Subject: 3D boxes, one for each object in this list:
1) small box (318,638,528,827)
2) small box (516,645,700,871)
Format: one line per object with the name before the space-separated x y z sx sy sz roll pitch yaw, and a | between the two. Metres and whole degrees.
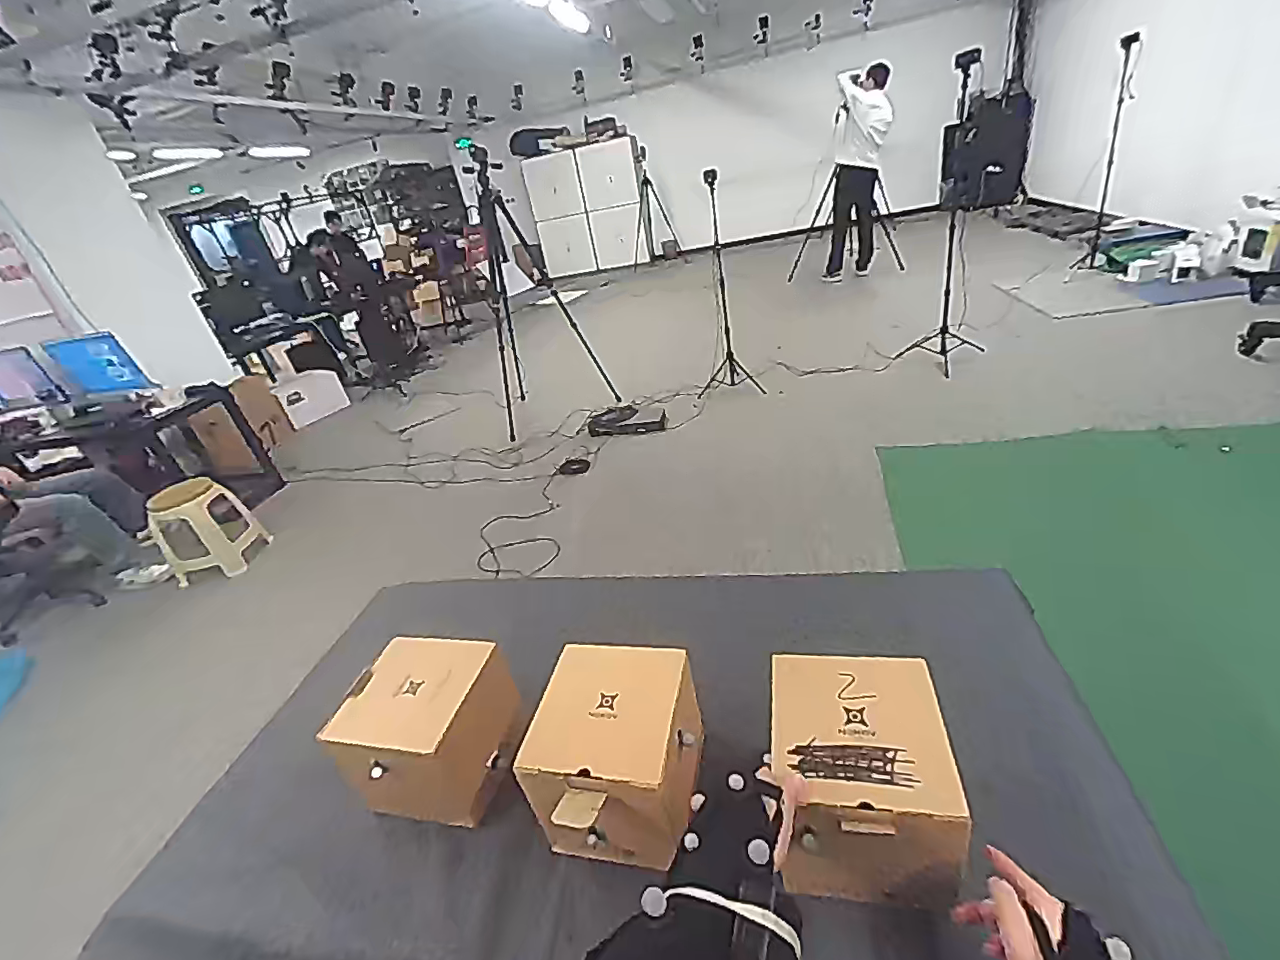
small box | -0.281 0.340 0.739 0.179 0.176 0.168 -1 31 18
small box | -0.023 0.330 0.660 0.168 0.176 0.179 -2 31 17
